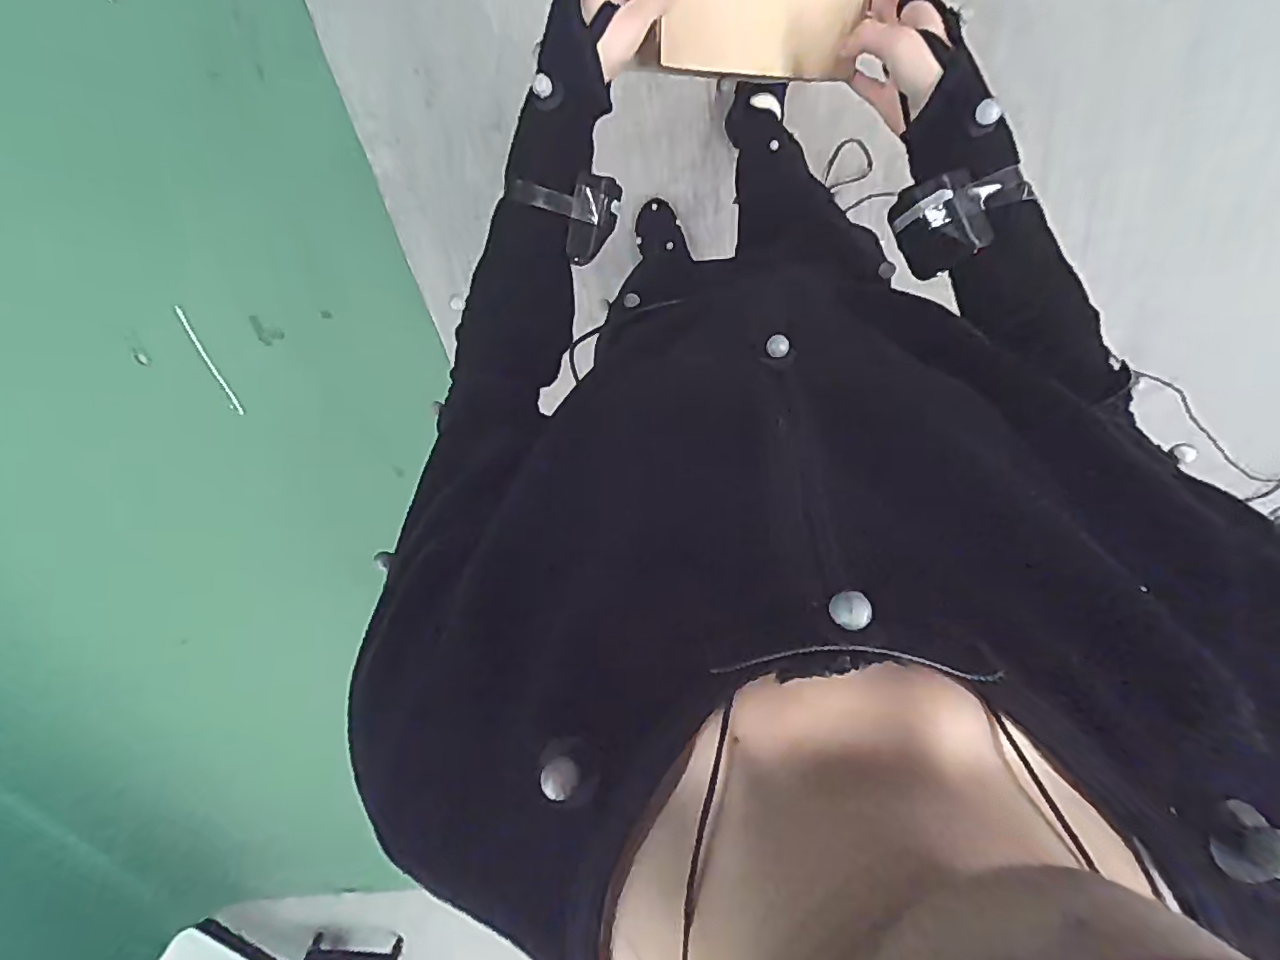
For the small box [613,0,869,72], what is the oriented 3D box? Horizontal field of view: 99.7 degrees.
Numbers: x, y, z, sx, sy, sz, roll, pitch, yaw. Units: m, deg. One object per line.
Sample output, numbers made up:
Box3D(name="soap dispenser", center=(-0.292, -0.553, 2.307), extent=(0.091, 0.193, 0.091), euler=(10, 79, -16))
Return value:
Box3D(name="small box", center=(0.079, -0.445, 0.444), extent=(0.179, 0.176, 0.168), euler=(-6, 128, -14))
